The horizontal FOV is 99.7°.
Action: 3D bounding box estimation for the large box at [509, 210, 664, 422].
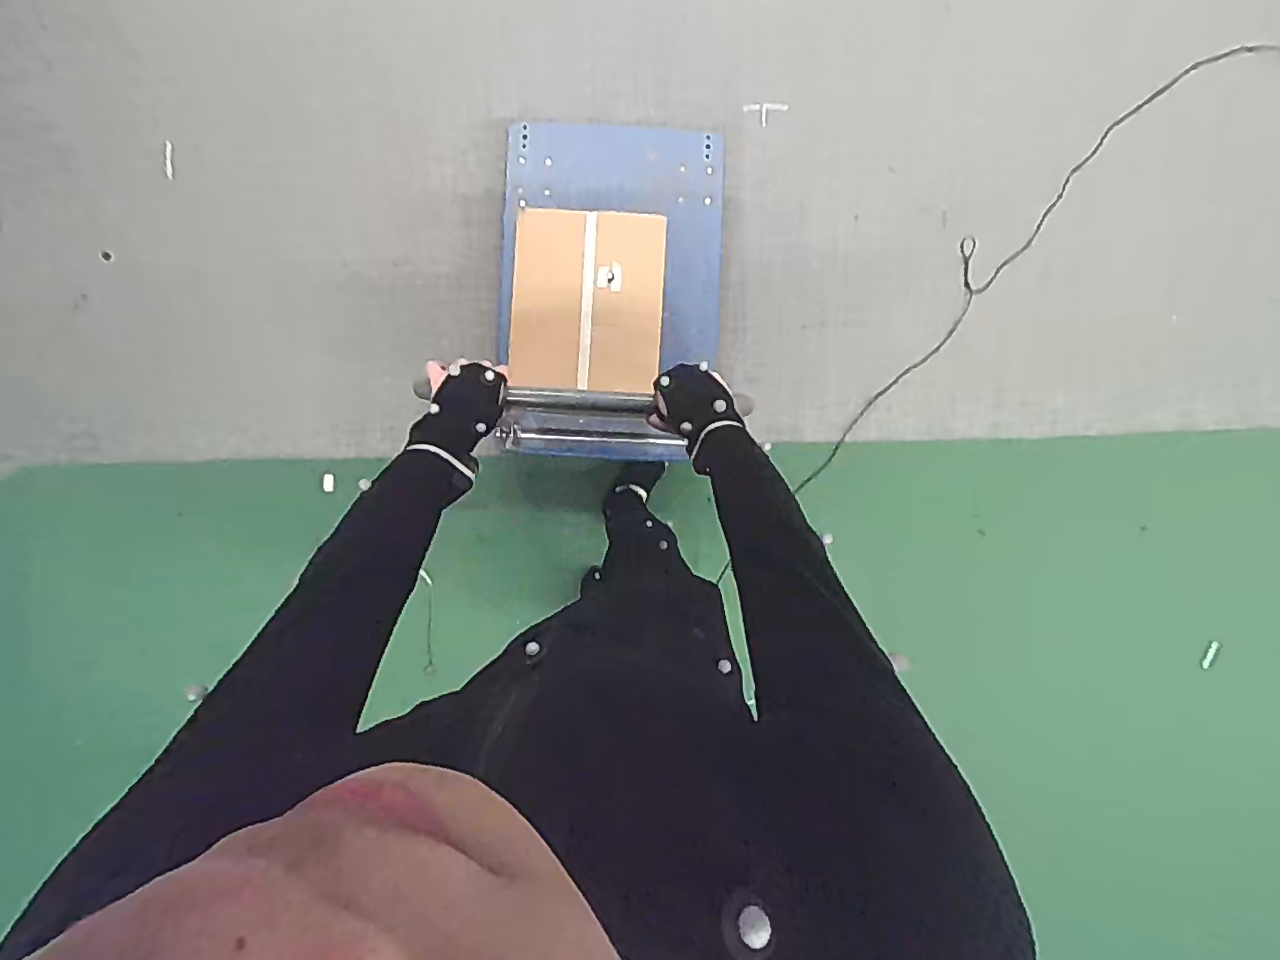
[{"bbox_3d":[-0.112,-0.356,1.272,0.320,0.320,0.408,3,89,-1],"label":"large box"}]
